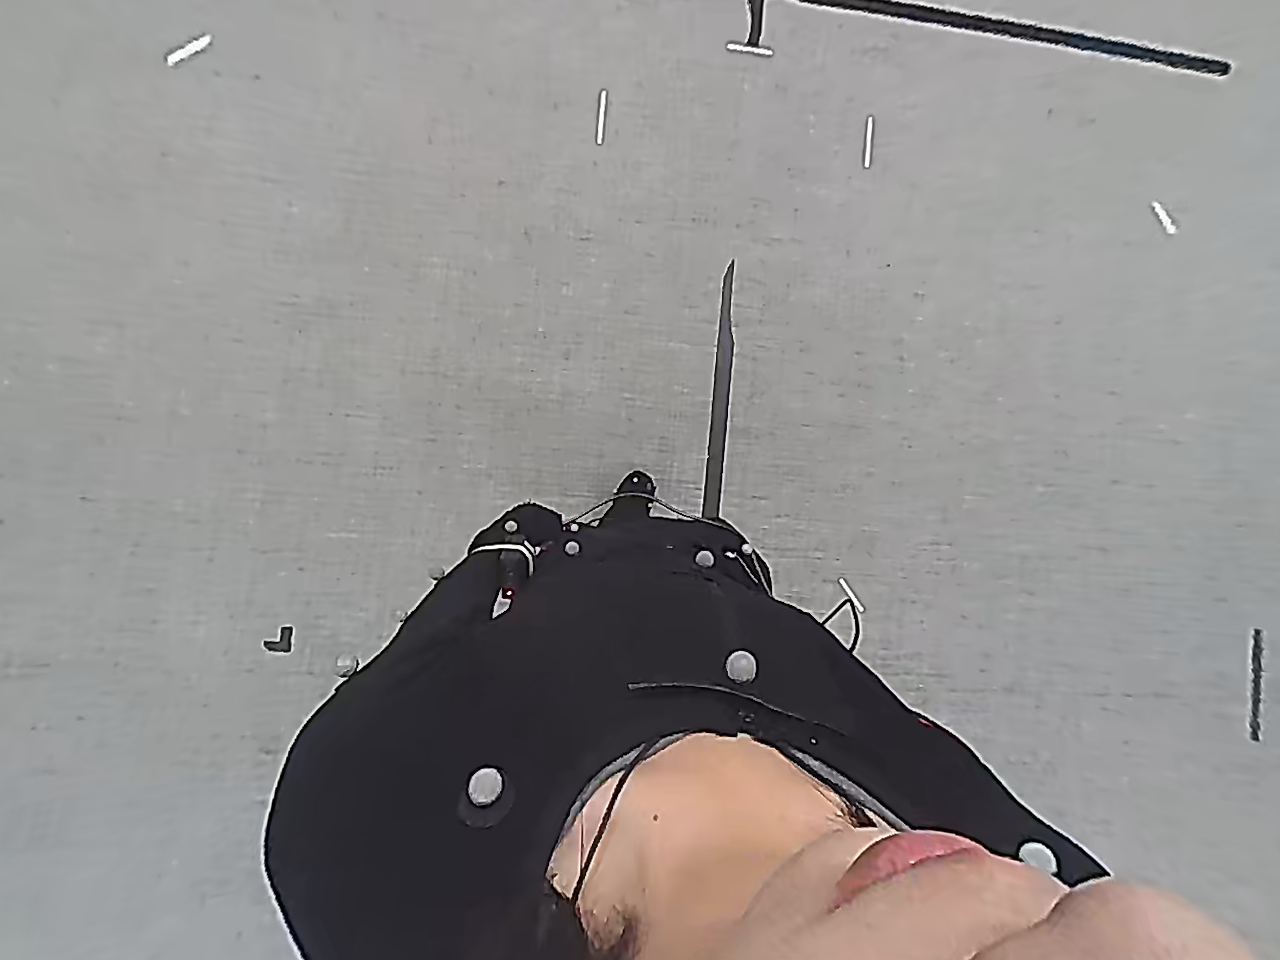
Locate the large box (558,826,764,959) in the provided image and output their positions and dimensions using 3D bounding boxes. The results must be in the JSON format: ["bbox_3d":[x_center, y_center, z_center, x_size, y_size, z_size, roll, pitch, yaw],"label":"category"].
[{"bbox_3d":[0.046,1.037,1.188,0.408,0.320,0.320,-7,89,-6],"label":"large box"}]
